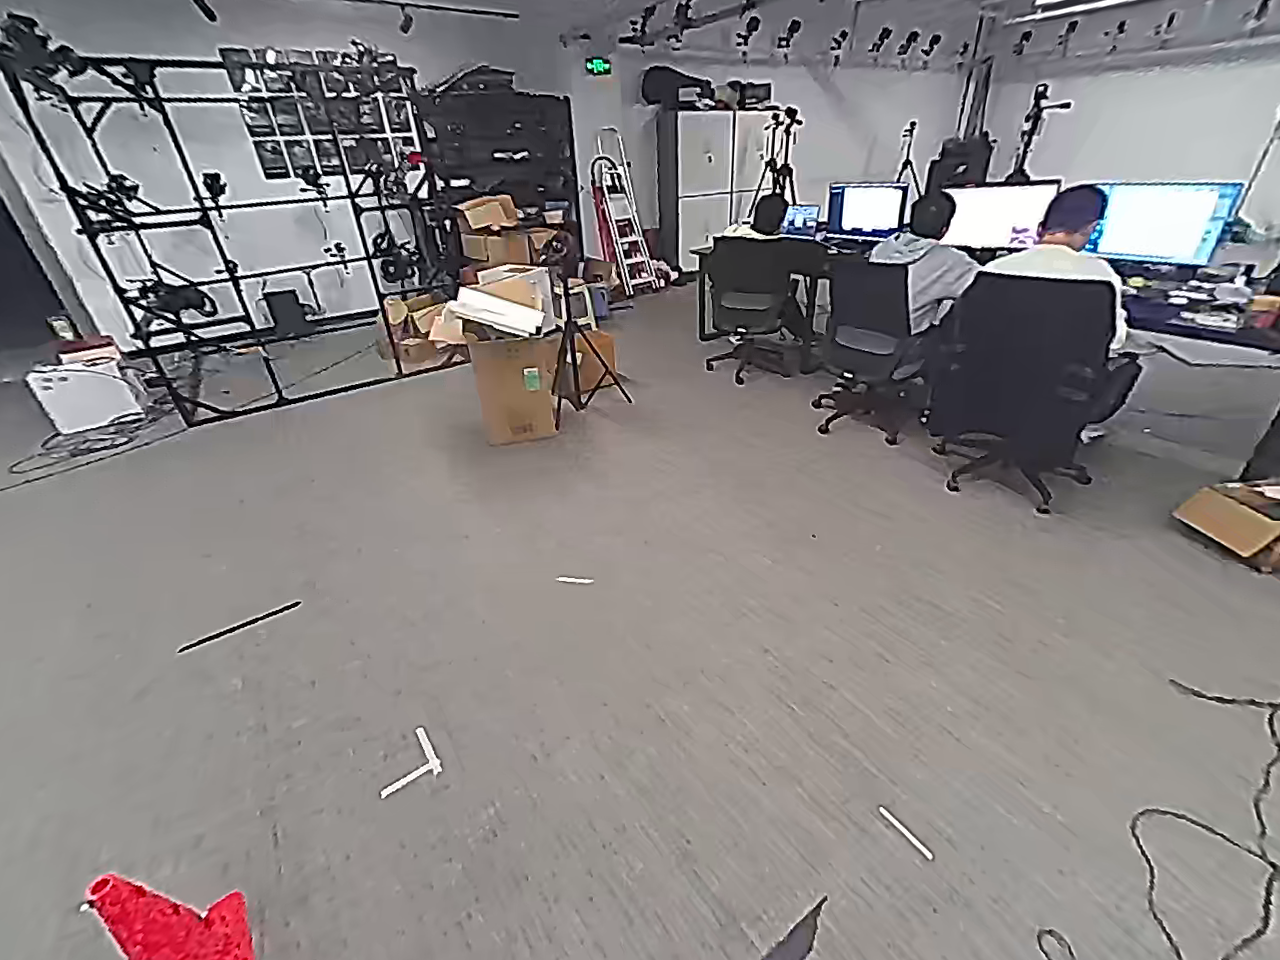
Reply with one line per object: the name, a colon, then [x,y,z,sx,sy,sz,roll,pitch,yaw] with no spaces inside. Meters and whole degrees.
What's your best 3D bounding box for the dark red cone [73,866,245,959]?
dark red cone: [-0.954,0.857,1.037,0.202,0.394,0.201,-27,39,-34]
